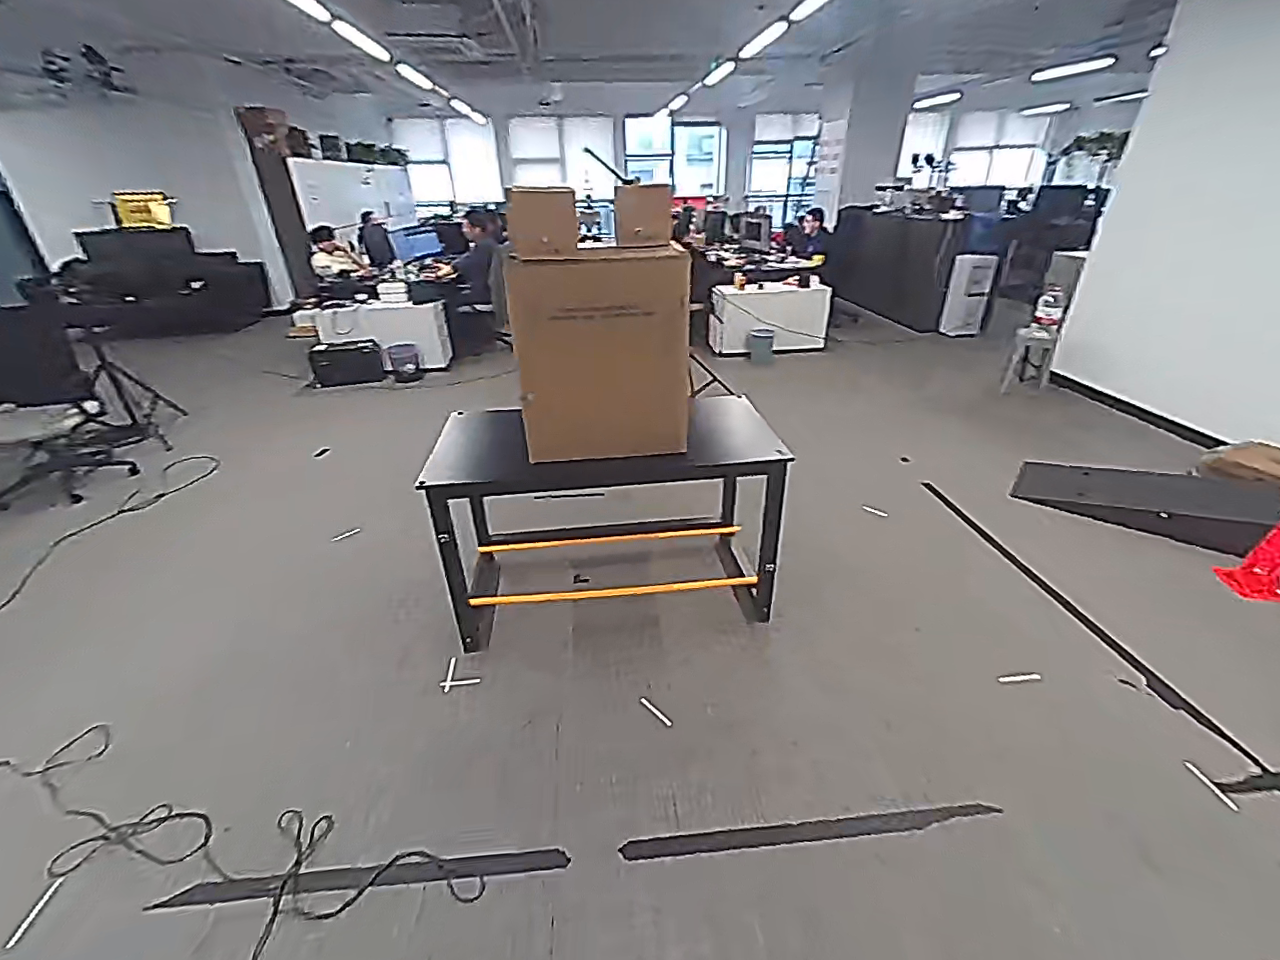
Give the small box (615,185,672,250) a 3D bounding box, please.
[{"bbox_3d":[0.010,-0.812,1.676,0.168,0.176,0.179,-5,28,-2],"label":"small box"}]
